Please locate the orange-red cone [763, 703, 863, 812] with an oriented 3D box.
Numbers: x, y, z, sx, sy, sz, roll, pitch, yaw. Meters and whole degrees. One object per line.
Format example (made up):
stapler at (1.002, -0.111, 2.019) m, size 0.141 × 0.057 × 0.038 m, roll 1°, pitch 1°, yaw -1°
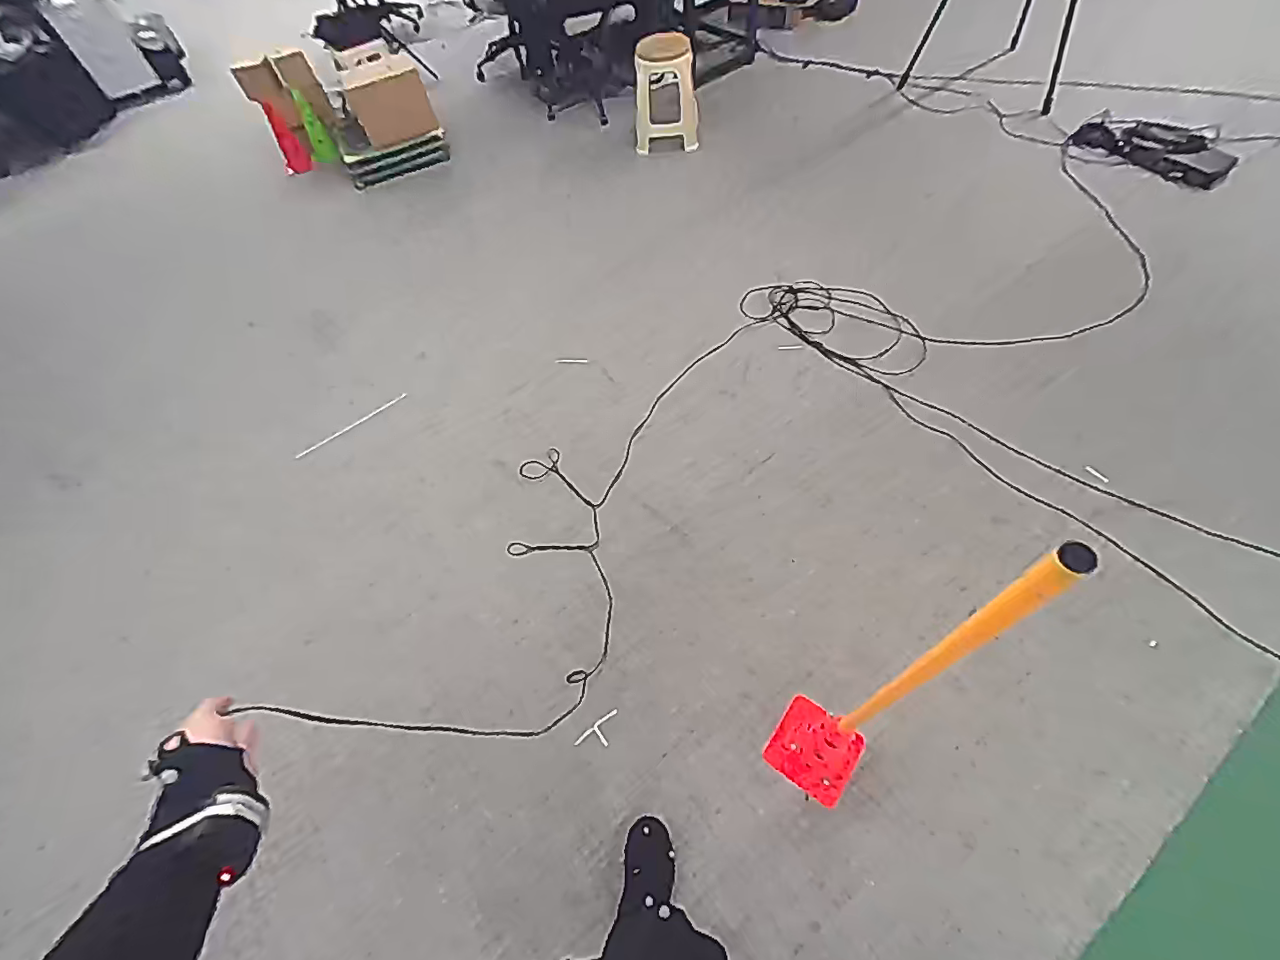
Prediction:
orange-red cone at (0.423, 0.601, 1.226) m, size 0.198 × 0.360 × 0.199 m, roll 32°, pitch 64°, yaw 23°
